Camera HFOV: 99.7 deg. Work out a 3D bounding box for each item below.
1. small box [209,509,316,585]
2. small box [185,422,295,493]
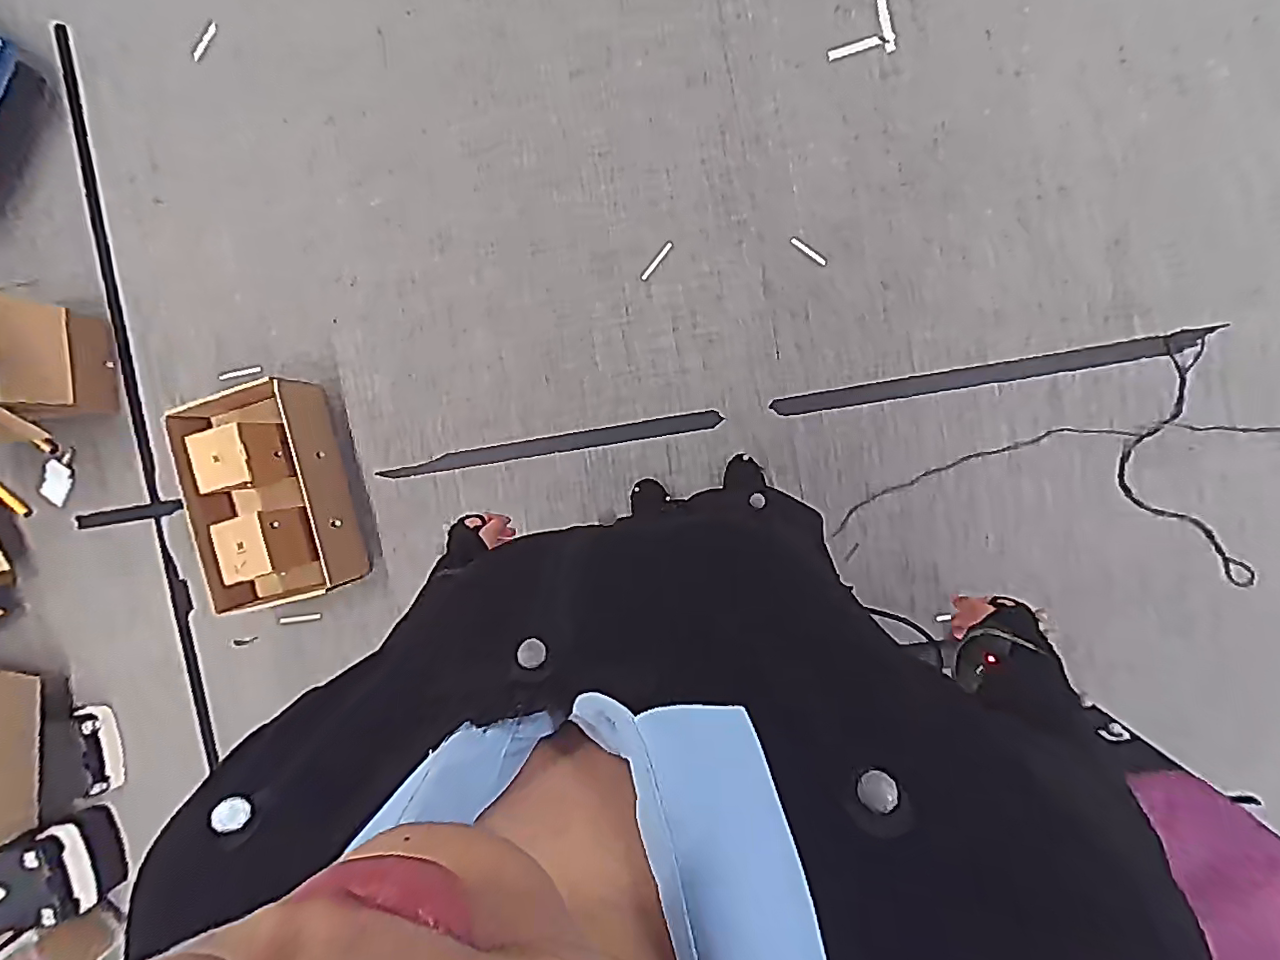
[{"bbox_3d":[-1.089,0.187,1.572,0.168,0.176,0.179,-16,90,11],"label":"small box"},{"bbox_3d":[-1.154,-0.065,1.570,0.179,0.176,0.168,-14,92,10],"label":"small box"}]
